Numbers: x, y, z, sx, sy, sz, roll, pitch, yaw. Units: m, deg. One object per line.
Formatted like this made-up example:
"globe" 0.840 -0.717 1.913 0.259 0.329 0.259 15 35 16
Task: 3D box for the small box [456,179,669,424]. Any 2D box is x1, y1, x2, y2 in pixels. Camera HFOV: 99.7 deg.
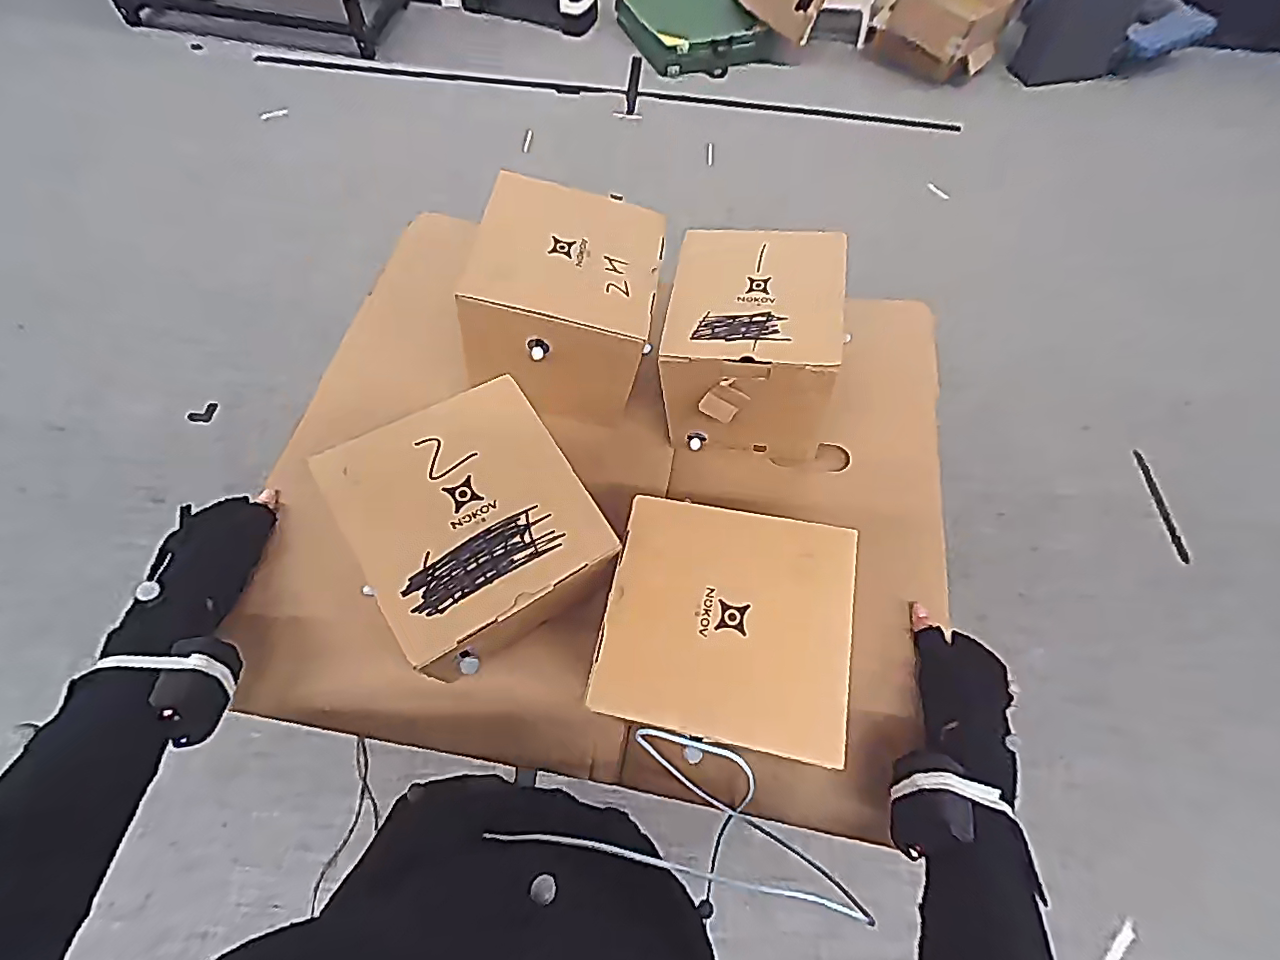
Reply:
"small box" -0.081 -0.180 0.587 0.179 0.176 0.168 13 66 -7
